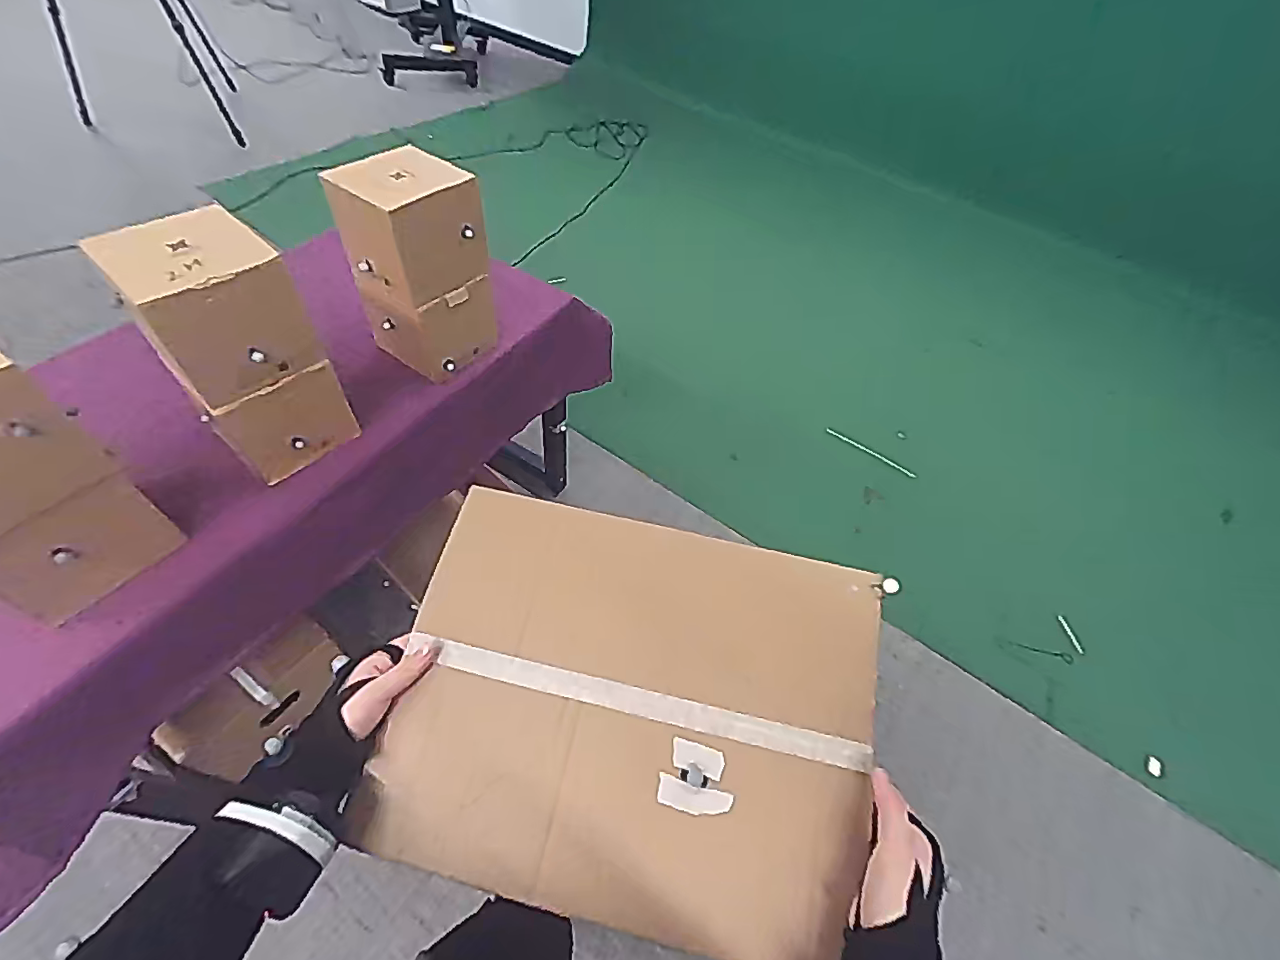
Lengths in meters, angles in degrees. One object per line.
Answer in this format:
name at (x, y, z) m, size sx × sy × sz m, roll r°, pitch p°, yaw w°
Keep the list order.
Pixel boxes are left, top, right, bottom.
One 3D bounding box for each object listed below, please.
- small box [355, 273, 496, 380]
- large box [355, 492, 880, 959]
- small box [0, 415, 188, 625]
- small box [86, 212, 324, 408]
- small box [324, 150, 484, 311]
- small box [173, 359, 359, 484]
small box at (-0.400, -0.318, 1.042) m, size 0.179 × 0.176 × 0.168 m, roll 32°, pitch 55°, yaw 18°
large box at (-0.001, 0.245, 0.601) m, size 0.408 × 0.320 × 0.320 m, roll 12°, pitch 67°, yaw 6°
small box at (-0.759, 0.056, 0.704) m, size 0.168 × 0.176 × 0.179 m, roll 33°, pitch 56°, yaw 16°
small box at (-0.580, -0.232, 0.744) m, size 0.179 × 0.176 × 0.168 m, roll 38°, pitch 57°, yaw 20°
small box at (-0.383, -0.421, 0.916) m, size 0.168 × 0.176 × 0.179 m, roll 33°, pitch 56°, yaw 18°
small box at (-0.593, -0.127, 0.870) m, size 0.179 × 0.176 × 0.168 m, roll 37°, pitch 57°, yaw 19°
